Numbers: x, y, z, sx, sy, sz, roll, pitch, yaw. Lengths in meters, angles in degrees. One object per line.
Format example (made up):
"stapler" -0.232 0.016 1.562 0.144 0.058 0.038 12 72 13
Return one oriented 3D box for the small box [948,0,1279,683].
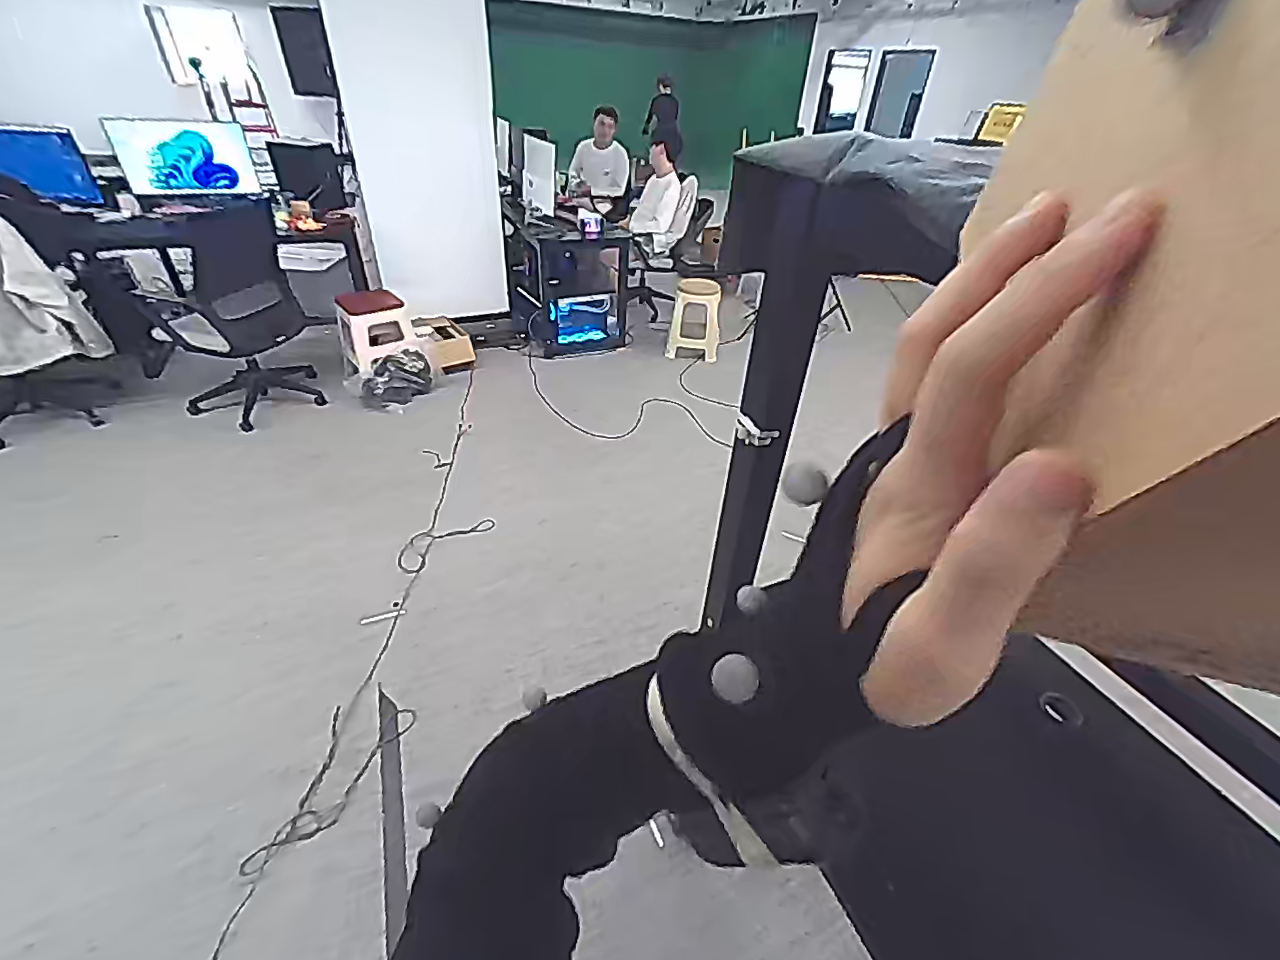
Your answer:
"small box" 0.188 -0.055 0.116 0.168 0.176 0.179 12 68 13
